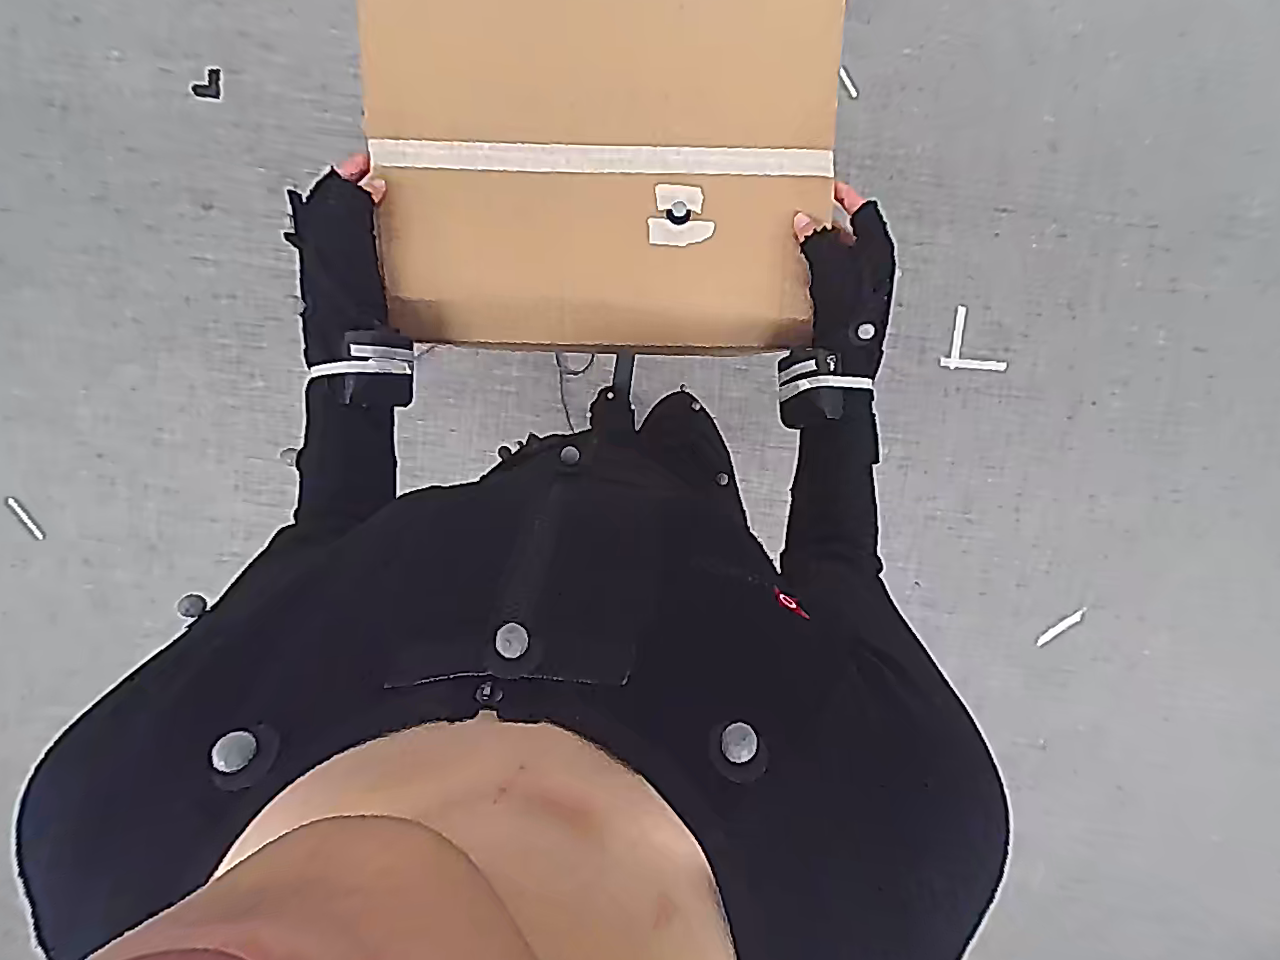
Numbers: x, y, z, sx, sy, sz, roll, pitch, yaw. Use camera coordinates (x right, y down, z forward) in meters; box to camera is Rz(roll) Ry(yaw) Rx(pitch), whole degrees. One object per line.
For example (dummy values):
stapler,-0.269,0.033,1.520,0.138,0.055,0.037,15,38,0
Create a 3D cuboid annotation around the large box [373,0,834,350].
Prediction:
large box,-0.036,-0.318,0.632,0.408,0.320,0.320,1,102,-2
